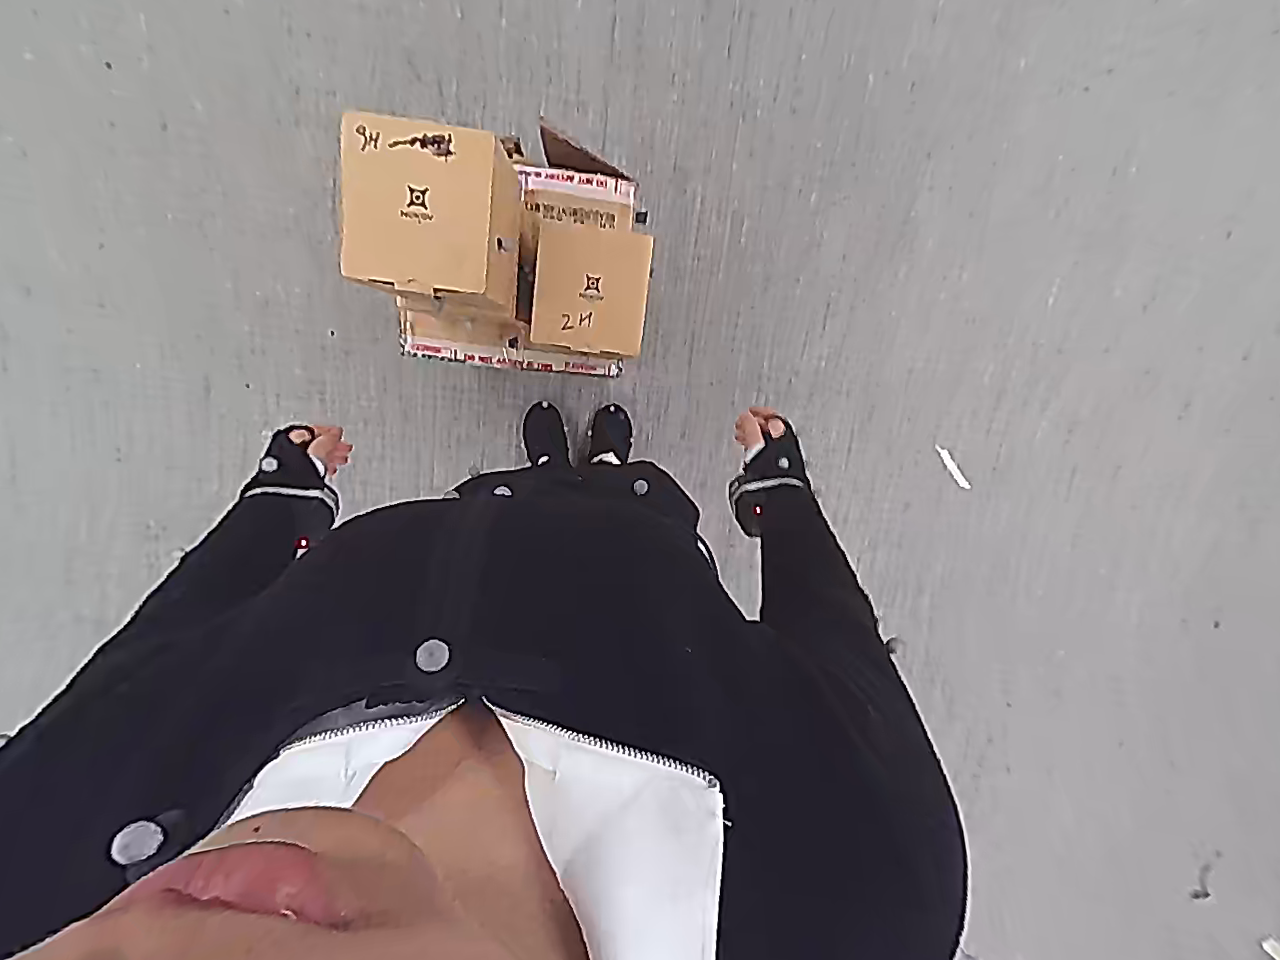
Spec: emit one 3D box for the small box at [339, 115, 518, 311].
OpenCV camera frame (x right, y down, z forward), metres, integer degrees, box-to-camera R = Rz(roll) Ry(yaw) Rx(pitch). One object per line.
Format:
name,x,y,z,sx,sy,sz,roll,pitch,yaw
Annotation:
small box,-0.252,-0.315,0.678,0.168,0.176,0.179,6,102,-5

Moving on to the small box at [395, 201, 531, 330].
small box,-0.266,-0.336,0.841,0.168,0.176,0.179,4,102,-4

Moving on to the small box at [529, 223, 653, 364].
small box,-0.080,-0.285,0.865,0.168,0.176,0.179,6,101,-6
